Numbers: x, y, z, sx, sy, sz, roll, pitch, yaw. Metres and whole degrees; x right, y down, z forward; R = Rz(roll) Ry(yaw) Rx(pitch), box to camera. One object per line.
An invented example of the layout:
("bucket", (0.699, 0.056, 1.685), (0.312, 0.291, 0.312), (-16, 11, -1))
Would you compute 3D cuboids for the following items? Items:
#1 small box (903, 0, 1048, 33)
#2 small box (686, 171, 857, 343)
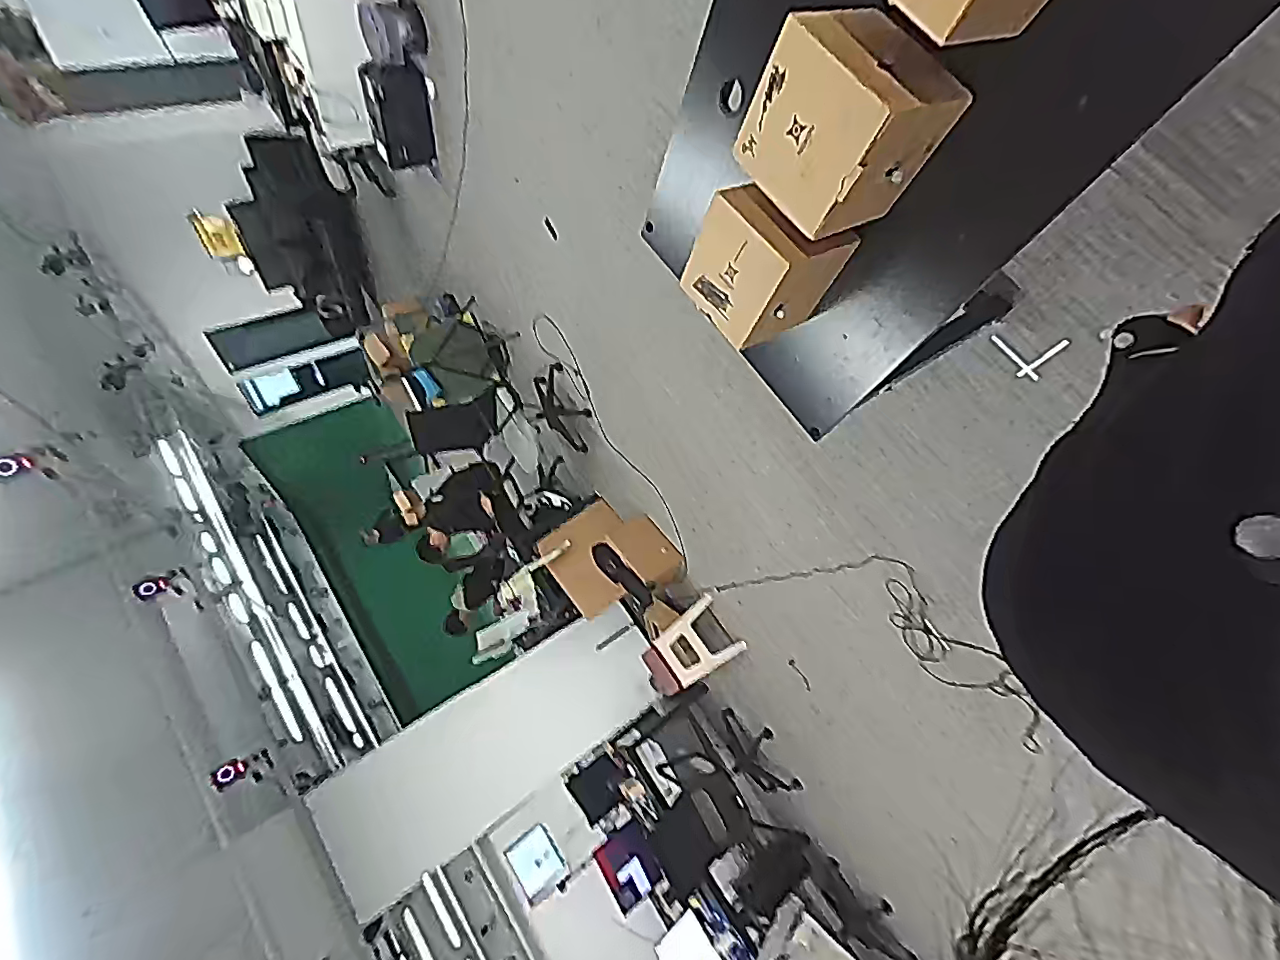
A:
("small box", (0.321, -0.549, 0.487), (0.179, 0.176, 0.168), (54, 154, 13))
("small box", (0.206, -0.357, 0.867), (0.168, 0.176, 0.179), (53, 151, 16))
